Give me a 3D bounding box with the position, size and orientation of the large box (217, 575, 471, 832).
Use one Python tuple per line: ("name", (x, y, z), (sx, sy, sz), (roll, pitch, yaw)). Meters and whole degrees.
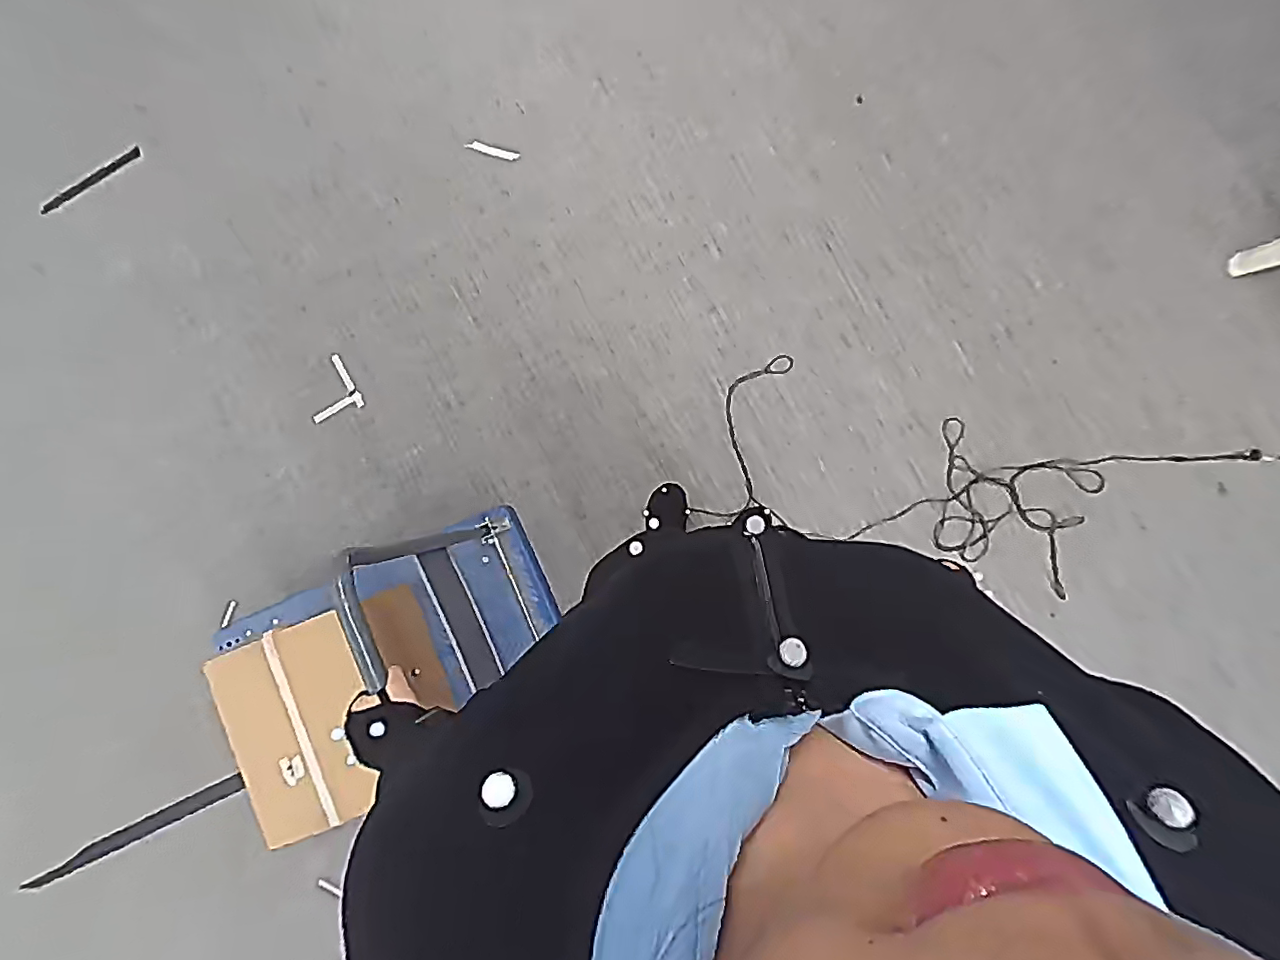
("large box", (-0.650, 0.480, 1.247), (0.320, 0.320, 0.408), (-22, 89, 4))
